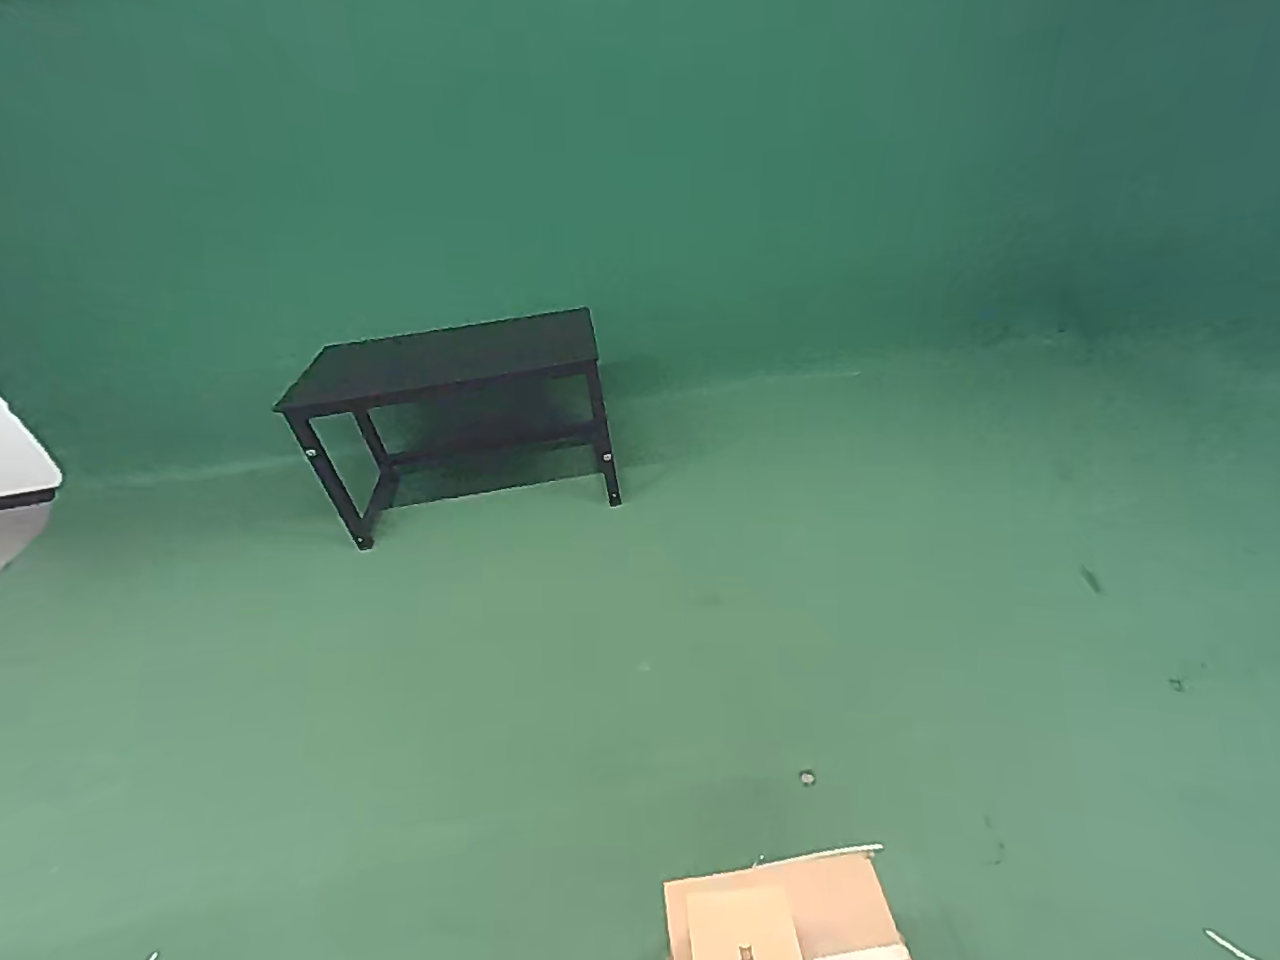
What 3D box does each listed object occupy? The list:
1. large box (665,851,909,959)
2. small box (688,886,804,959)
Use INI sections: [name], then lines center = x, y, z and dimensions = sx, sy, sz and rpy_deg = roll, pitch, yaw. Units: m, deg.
[large box]
center = 0.271, 0.952, 1.000
dimensions = 0.408, 0.320, 0.320
rpy_deg = -8, 36, -1
[small box]
center = 0.167, 0.775, 0.846
dimensions = 0.168, 0.176, 0.179
rpy_deg = -7, 37, 0
